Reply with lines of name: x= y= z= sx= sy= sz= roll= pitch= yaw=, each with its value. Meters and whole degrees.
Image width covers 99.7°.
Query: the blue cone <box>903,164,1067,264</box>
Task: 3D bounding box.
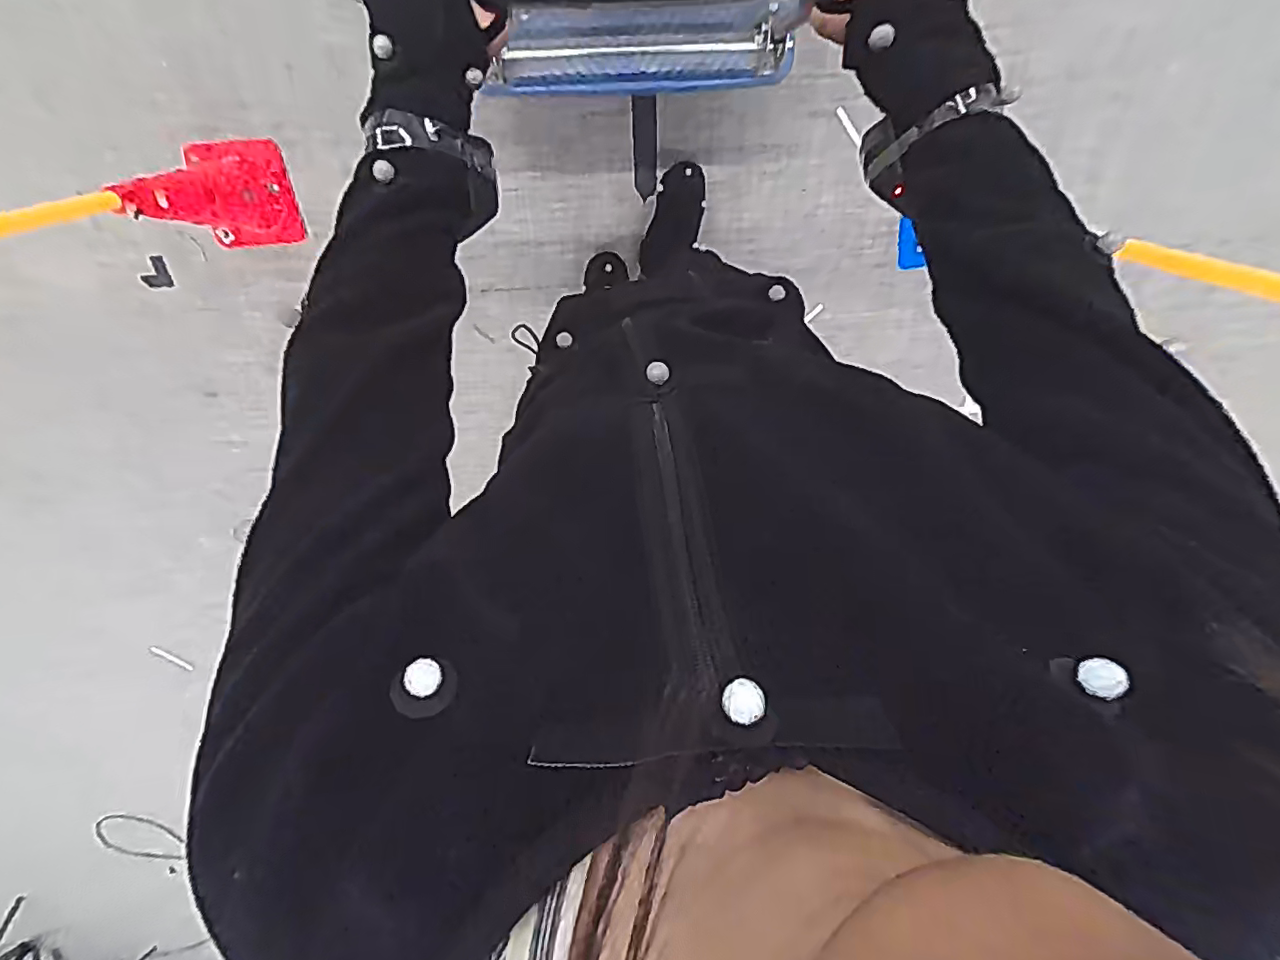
blue cone: x=0.706 y=-0.528 z=1.091 sx=0.193 sy=0.380 sz=0.192 roll=-7 pitch=118 yaw=1
